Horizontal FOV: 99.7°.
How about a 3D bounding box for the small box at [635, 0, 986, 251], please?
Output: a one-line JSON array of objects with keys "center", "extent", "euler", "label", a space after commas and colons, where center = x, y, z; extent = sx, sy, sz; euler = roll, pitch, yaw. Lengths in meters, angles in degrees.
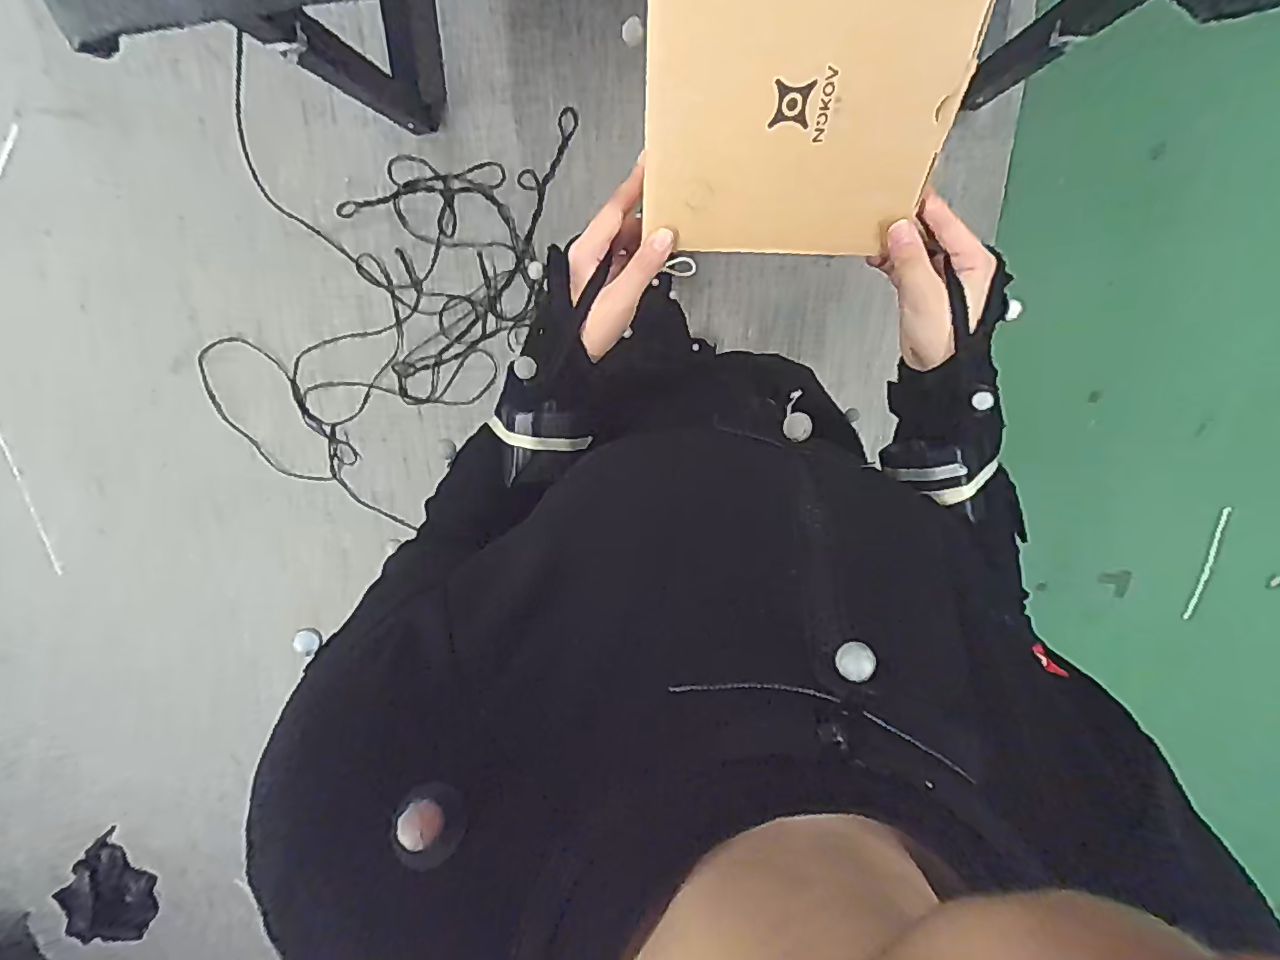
[{"center": [0.088, -0.268, 0.357], "extent": [0.179, 0.176, 0.168], "euler": [1, 135, -1], "label": "small box"}]
